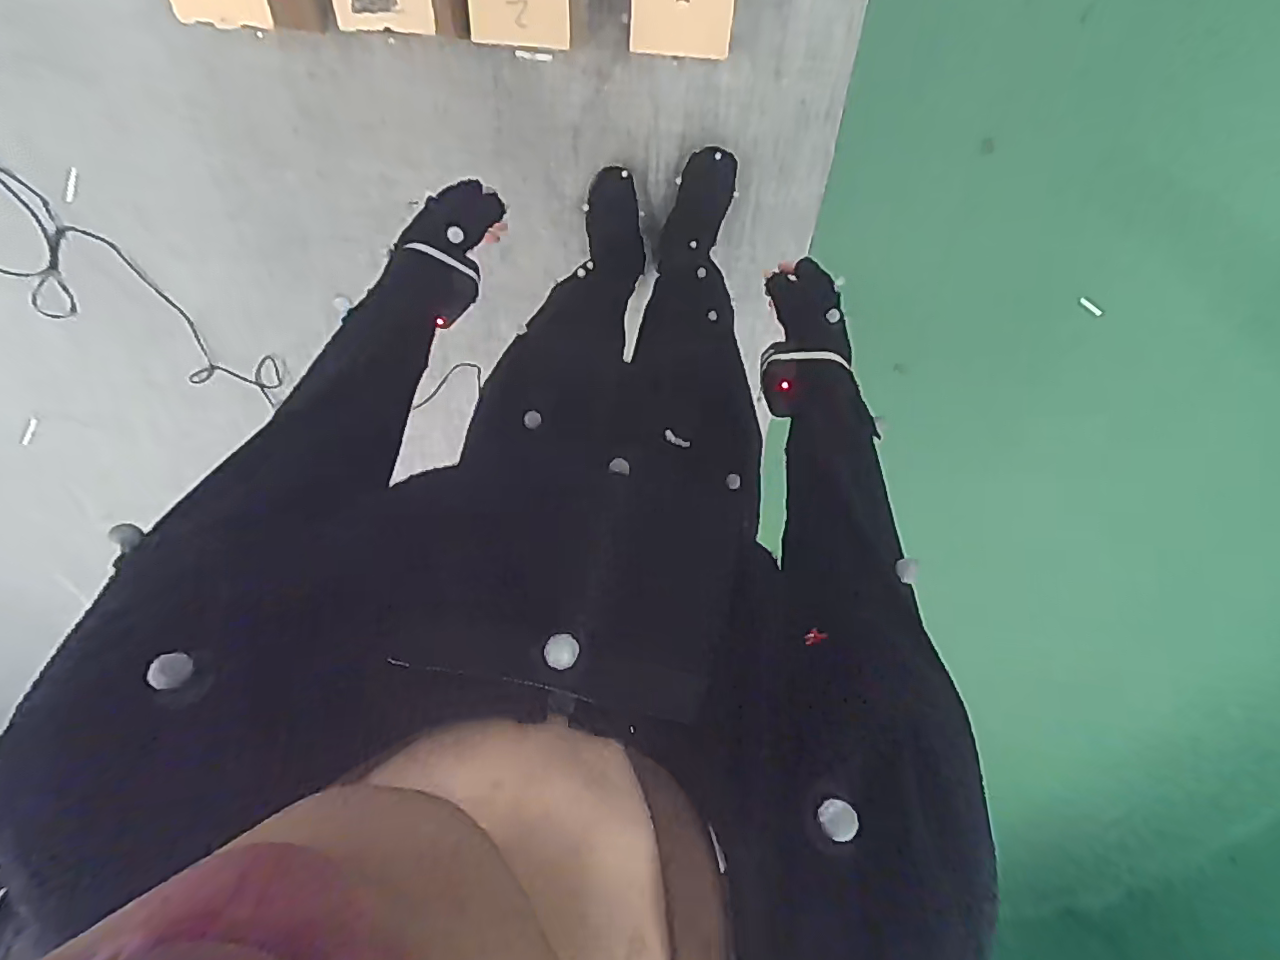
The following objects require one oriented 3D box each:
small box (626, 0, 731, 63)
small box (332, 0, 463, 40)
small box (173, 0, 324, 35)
[{"bbox_3d":[0.069,-0.824,0.914,0.168,0.176,0.179,4,128,-1],"label":"small box"},{"bbox_3d":[-0.411,-0.860,0.909,0.168,0.176,0.179,4,127,1],"label":"small box"},{"bbox_3d":[-0.676,-0.877,0.915,0.168,0.176,0.179,4,128,0],"label":"small box"}]
